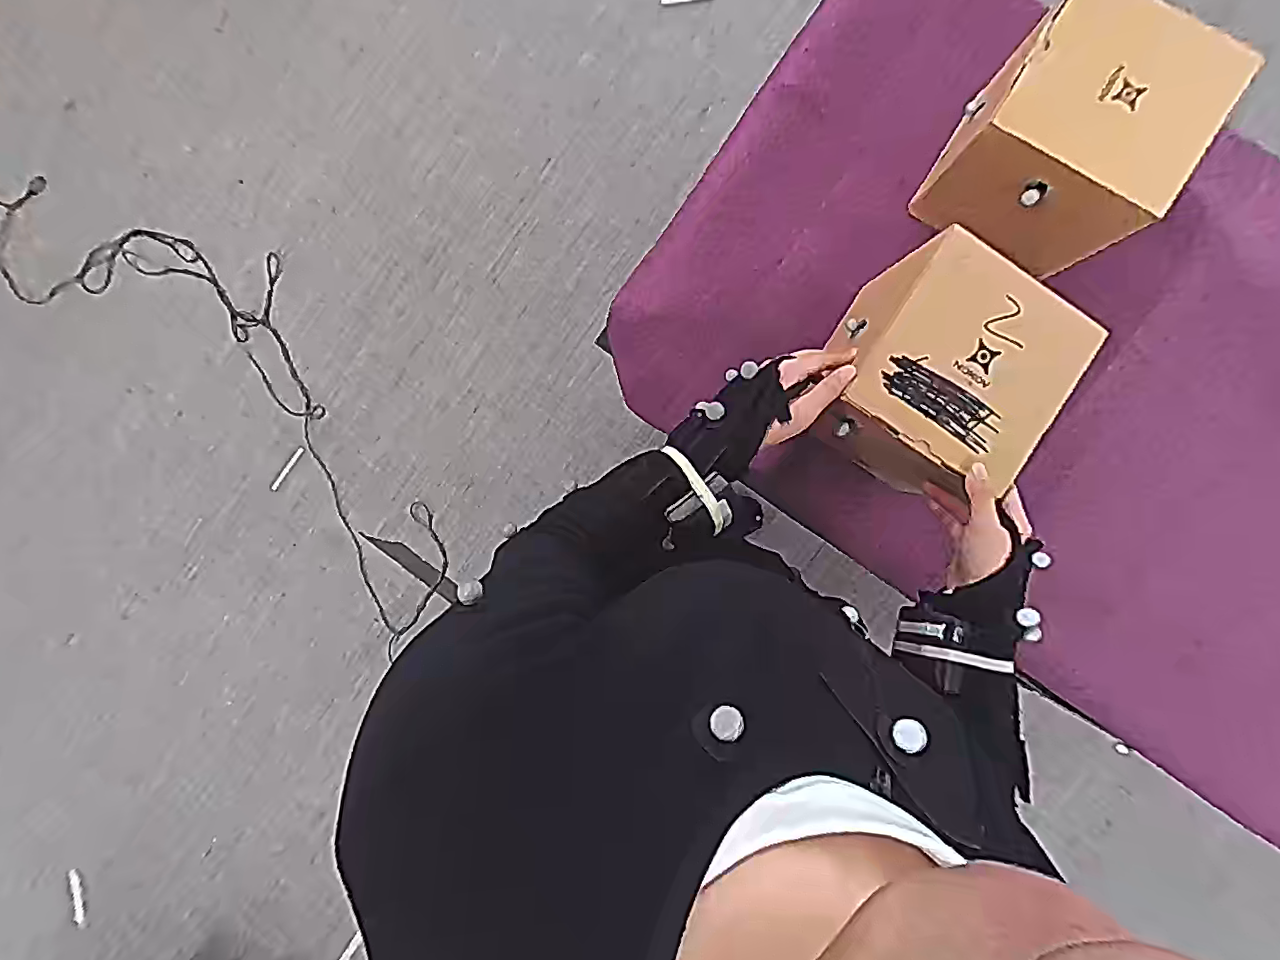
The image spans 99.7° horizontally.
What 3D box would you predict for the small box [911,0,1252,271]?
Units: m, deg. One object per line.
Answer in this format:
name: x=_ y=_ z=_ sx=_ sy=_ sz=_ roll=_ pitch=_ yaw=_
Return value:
small box: x=0.430 y=-0.345 z=0.563 sx=0.179 sy=0.176 sz=0.168 roll=32 pitch=92 yaw=2
